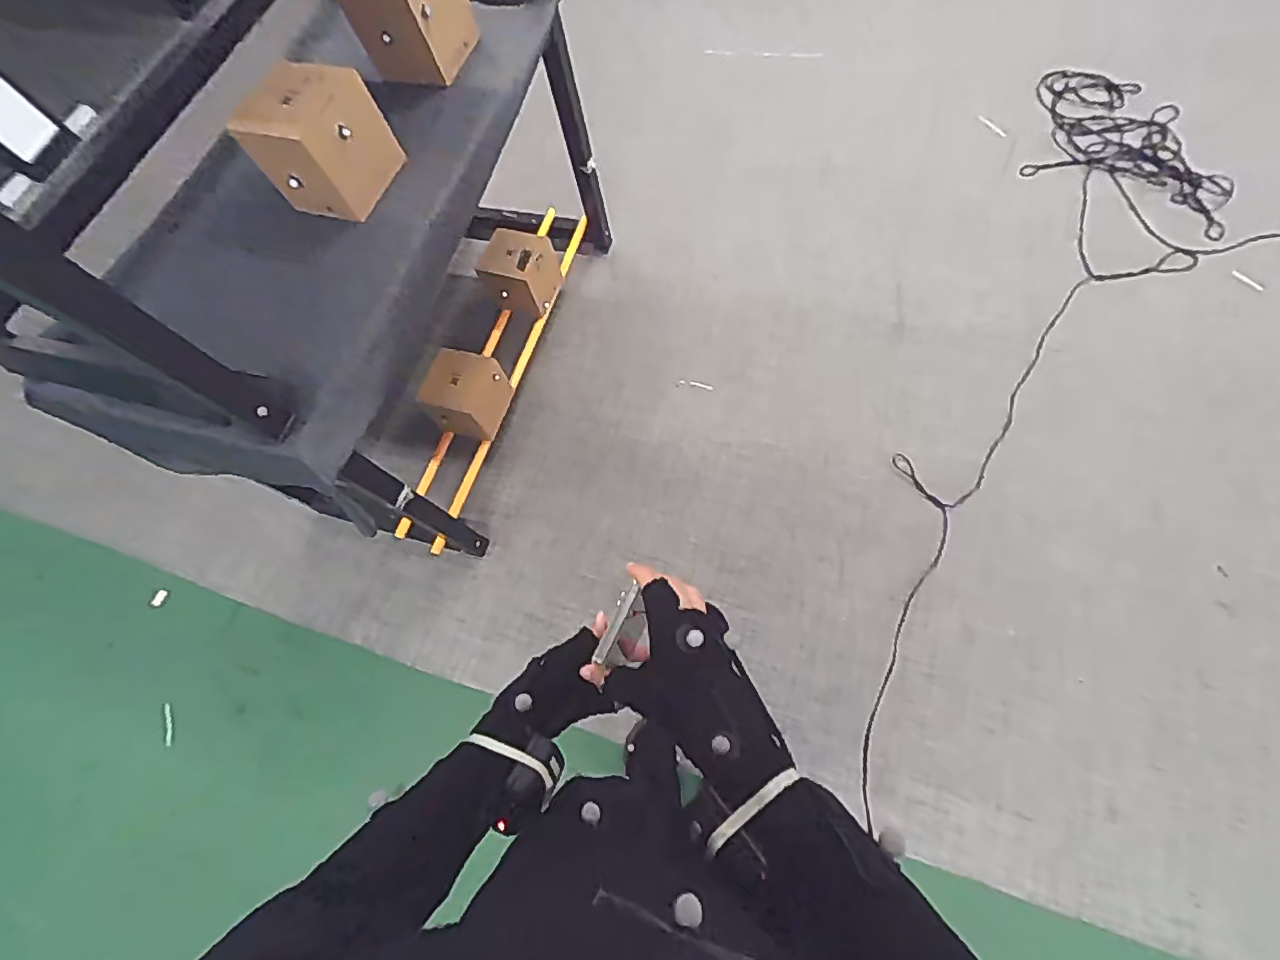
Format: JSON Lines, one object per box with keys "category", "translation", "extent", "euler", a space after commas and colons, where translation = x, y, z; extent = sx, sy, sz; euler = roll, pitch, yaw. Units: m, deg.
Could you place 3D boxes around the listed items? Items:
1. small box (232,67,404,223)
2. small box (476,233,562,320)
{"category": "small box", "translation": [-0.566, -0.599, 0.977], "extent": [0.168, 0.176, 0.179], "euler": [16, 71, 14]}
{"category": "small box", "translation": [-0.354, -0.607, 1.631], "extent": [0.179, 0.176, 0.168], "euler": [17, 71, 14]}
